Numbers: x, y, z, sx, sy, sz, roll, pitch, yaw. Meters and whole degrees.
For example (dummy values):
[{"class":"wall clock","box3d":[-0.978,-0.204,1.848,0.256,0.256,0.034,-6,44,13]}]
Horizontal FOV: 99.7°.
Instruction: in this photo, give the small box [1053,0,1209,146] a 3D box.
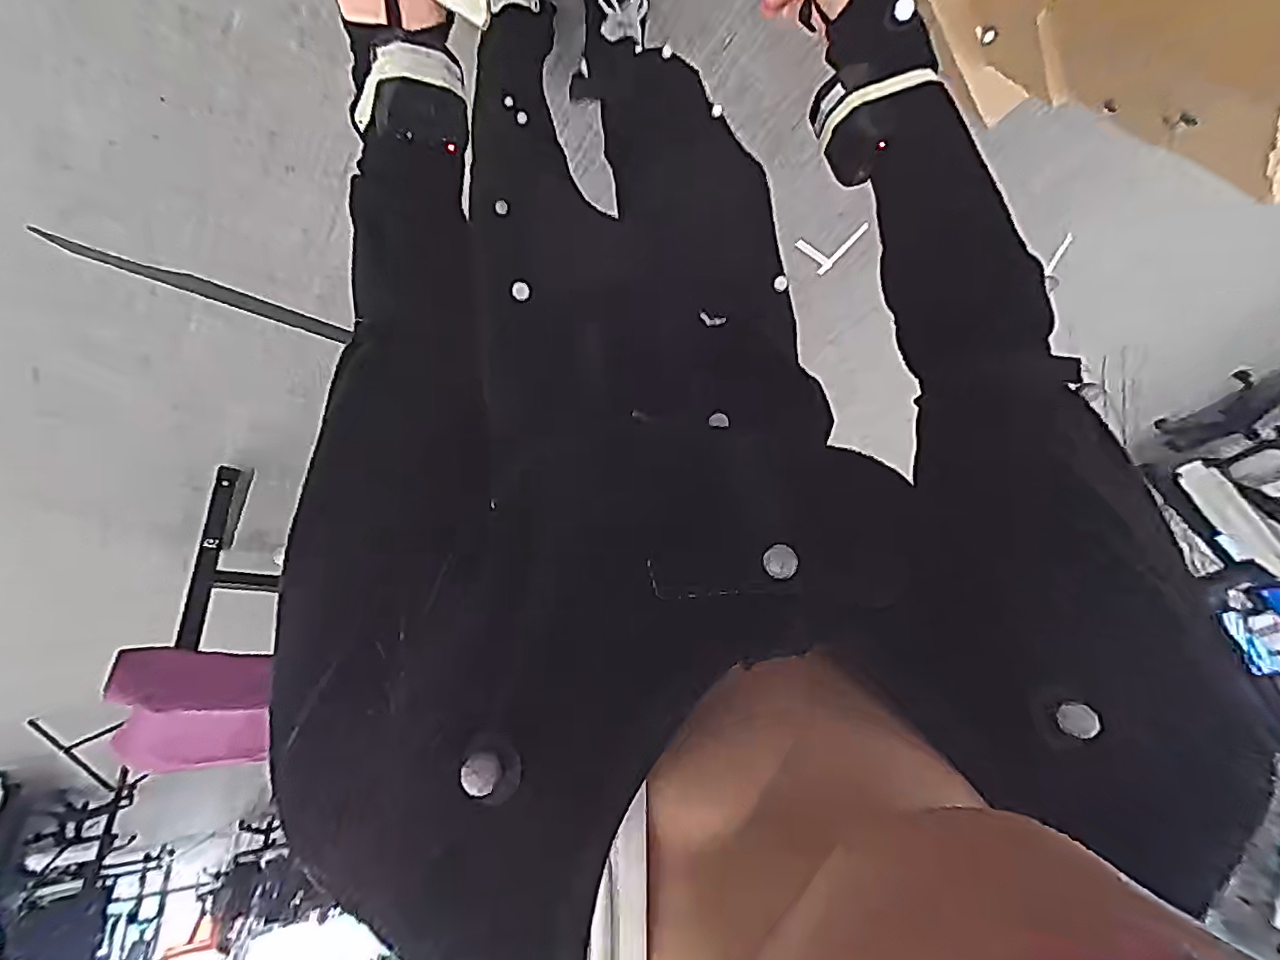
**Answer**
[{"class":"small box","box3d":[0.659,-0.569,0.663,0.179,0.176,0.168,19,133,-39]}]

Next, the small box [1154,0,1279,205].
[{"class":"small box","box3d":[0.702,-0.444,0.565,0.168,0.176,0.179,20,132,-41]}]
